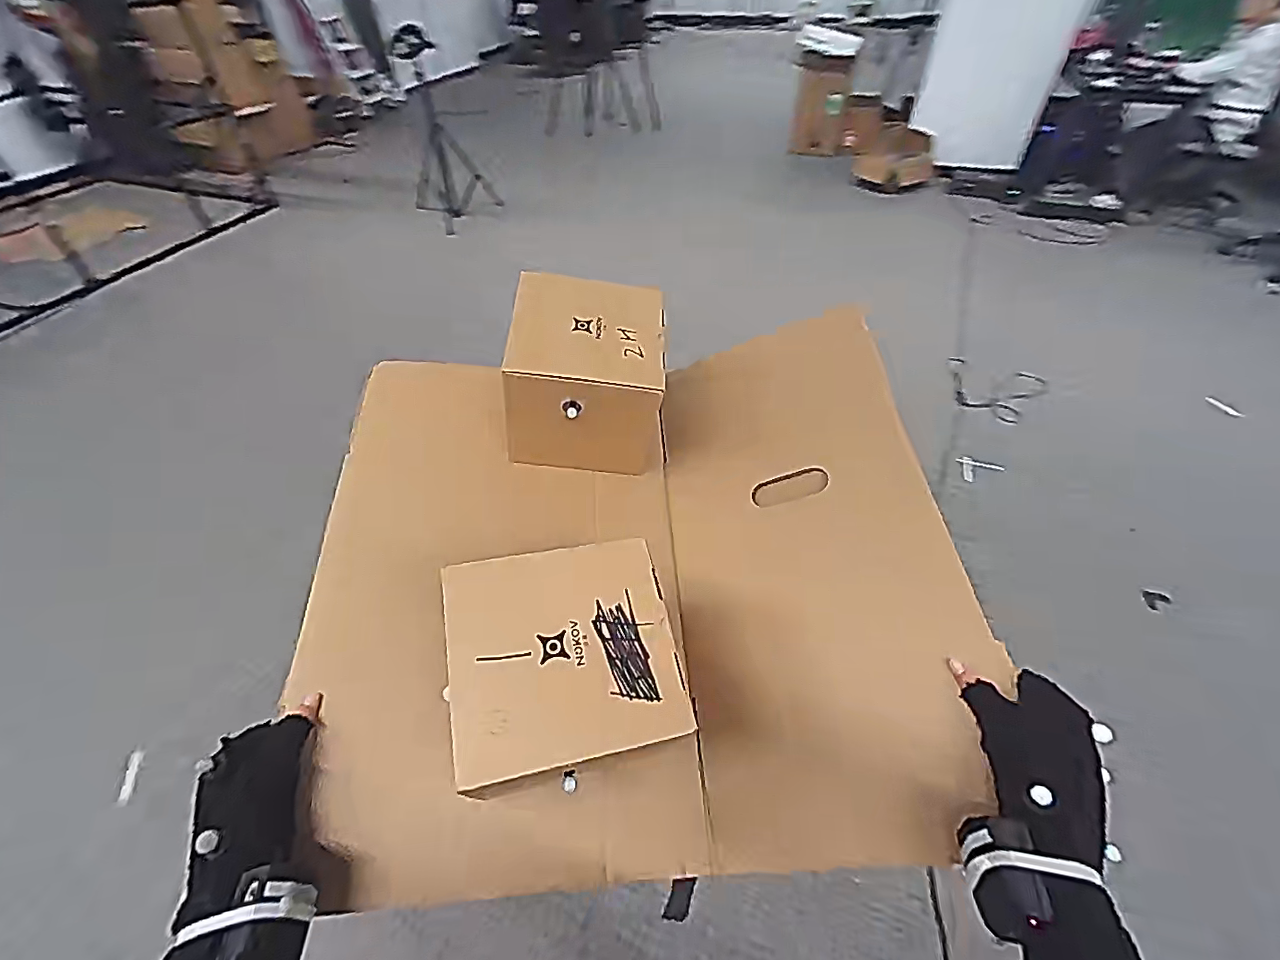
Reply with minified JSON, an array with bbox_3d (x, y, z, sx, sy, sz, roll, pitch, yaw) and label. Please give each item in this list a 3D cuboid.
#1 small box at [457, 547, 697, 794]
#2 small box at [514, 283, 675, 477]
[{"bbox_3d":[-0.067,0.178,0.498,0.179,0.176,0.168,-6,60,-14],"label":"small box"},{"bbox_3d":[-0.058,-0.119,0.689,0.179,0.176,0.168,8,57,-7],"label":"small box"}]
